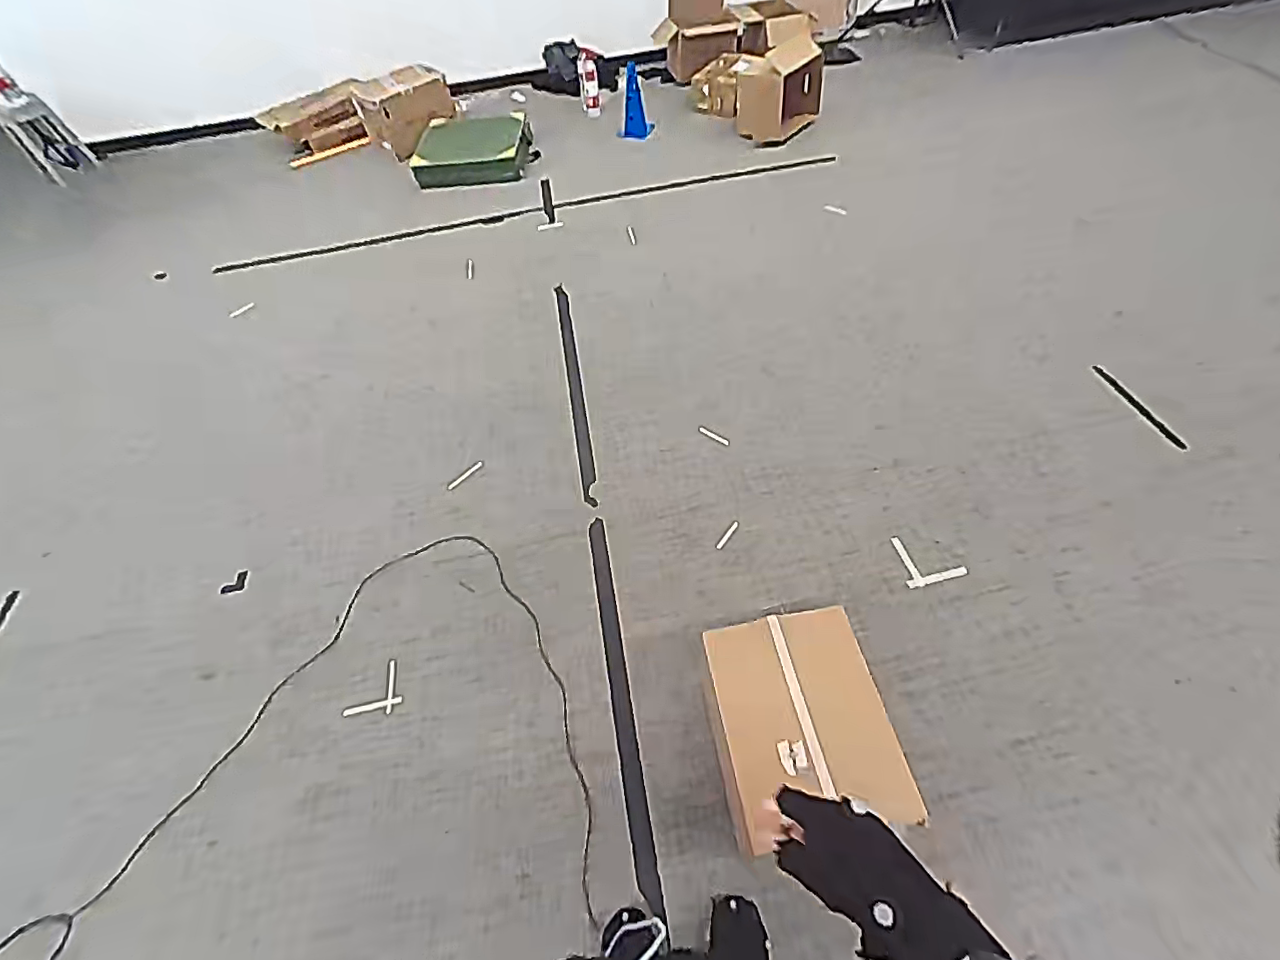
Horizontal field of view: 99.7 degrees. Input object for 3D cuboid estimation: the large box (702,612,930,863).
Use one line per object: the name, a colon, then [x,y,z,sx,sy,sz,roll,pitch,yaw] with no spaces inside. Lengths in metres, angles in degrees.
large box: [0.331,0.552,1.165,0.320,0.320,0.408,-11,54,-1]
